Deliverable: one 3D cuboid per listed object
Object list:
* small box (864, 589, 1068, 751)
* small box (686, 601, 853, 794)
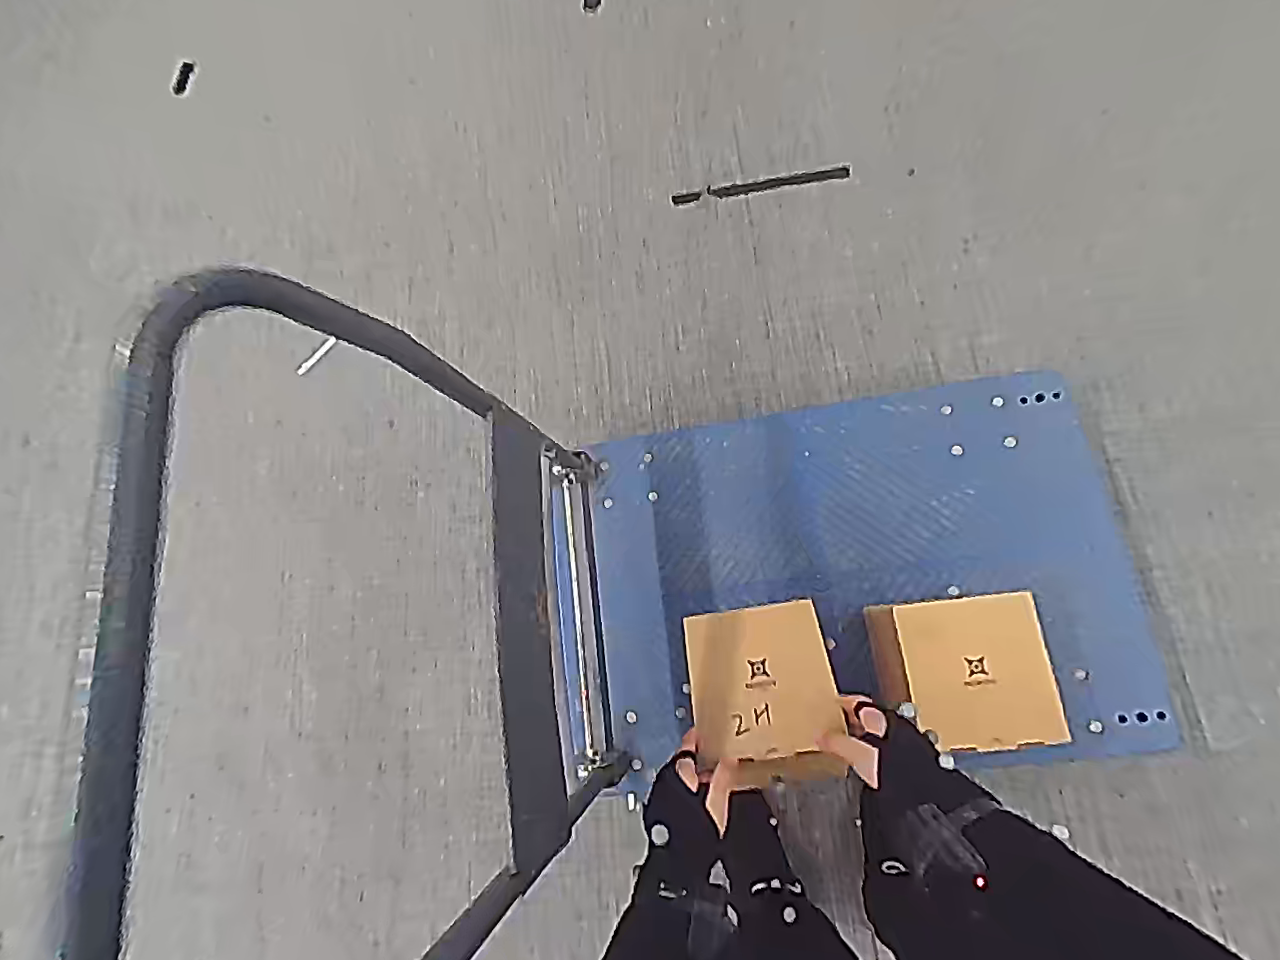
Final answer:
[{"bbox_3d":[0.419,0.248,0.732,0.168,0.176,0.179,-9,76,8],"label":"small box"},{"bbox_3d":[0.157,0.278,0.684,0.168,0.176,0.179,-11,50,9],"label":"small box"}]
